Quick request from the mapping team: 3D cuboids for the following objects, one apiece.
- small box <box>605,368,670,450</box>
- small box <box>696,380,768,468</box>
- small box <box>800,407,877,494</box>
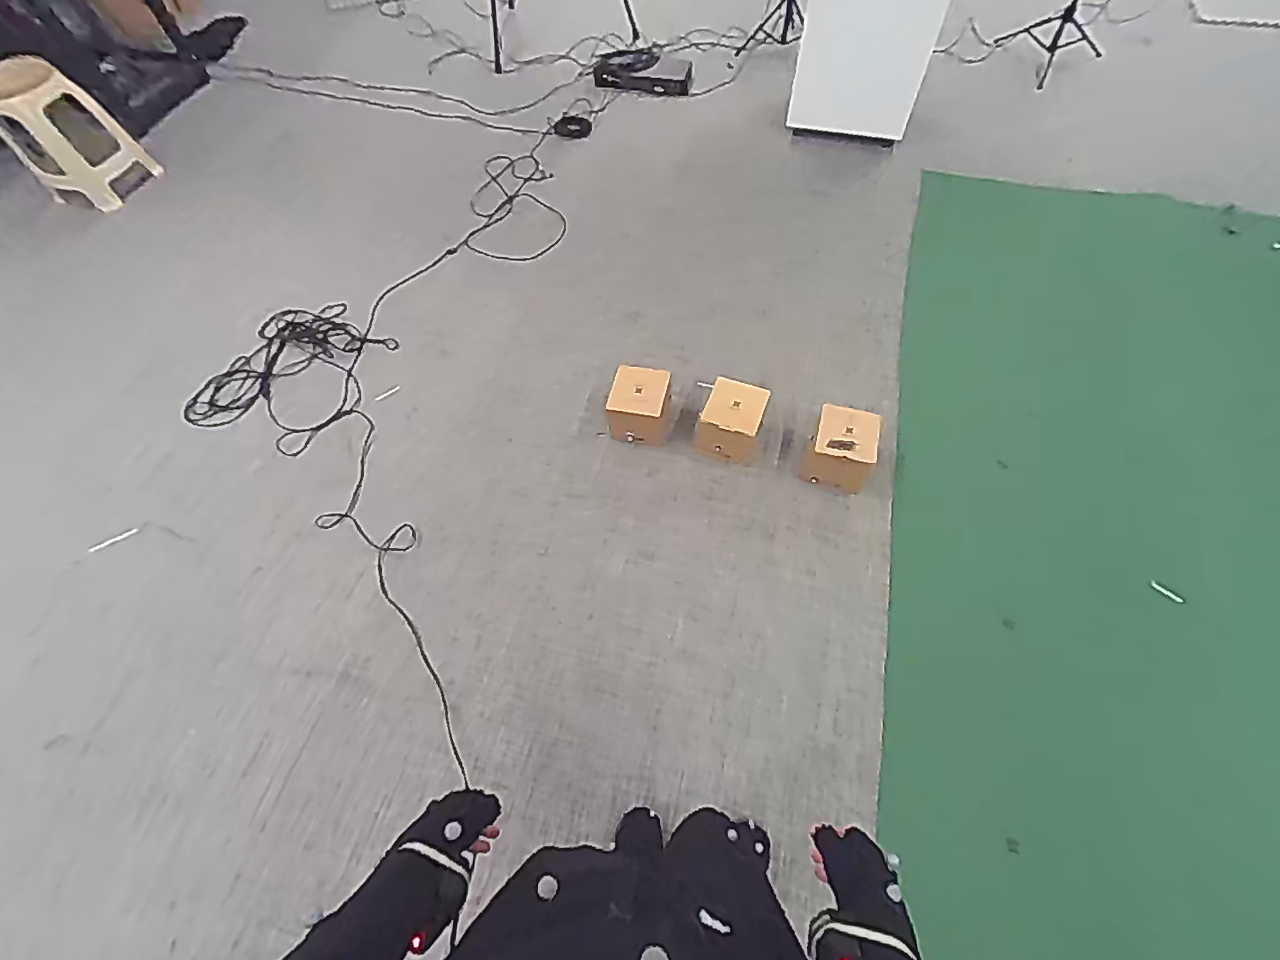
[{"bbox_3d":[-0.003,-0.220,1.681,0.168,0.176,0.179,9,63,9],"label":"small box"},{"bbox_3d":[0.274,-0.168,1.641,0.168,0.176,0.179,18,63,12],"label":"small box"},{"bbox_3d":[0.576,-0.082,1.581,0.168,0.176,0.179,14,61,10],"label":"small box"}]
